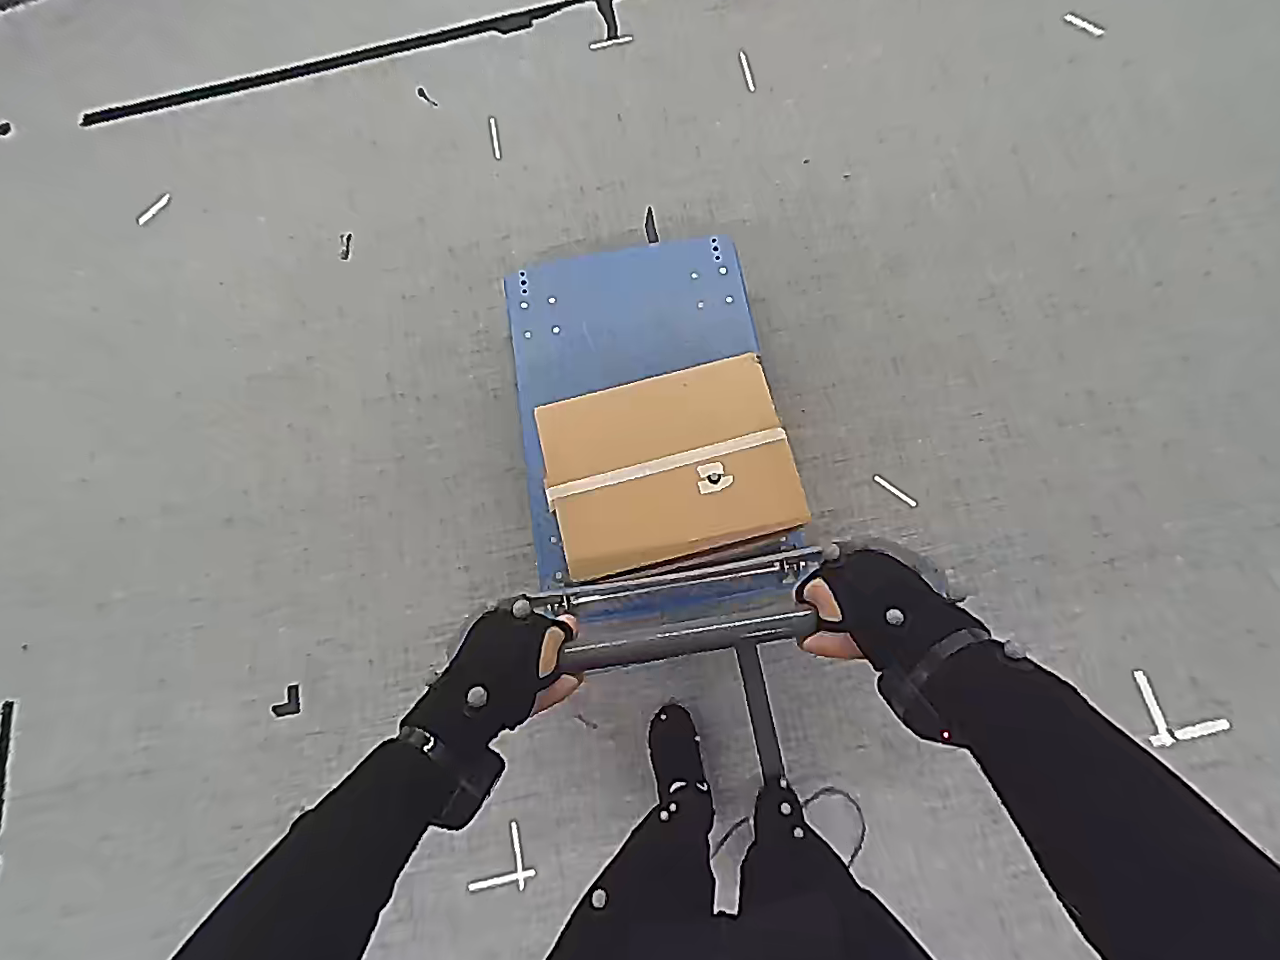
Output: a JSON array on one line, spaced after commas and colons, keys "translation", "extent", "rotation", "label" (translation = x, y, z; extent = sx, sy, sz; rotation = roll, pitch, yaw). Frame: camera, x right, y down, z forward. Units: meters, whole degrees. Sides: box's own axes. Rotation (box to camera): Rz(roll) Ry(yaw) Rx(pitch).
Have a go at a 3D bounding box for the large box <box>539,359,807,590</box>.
[{"translation": [0.054, 0.013, 1.071], "extent": [0.408, 0.320, 0.320], "rotation": [-15, 78, -1], "label": "large box"}]
